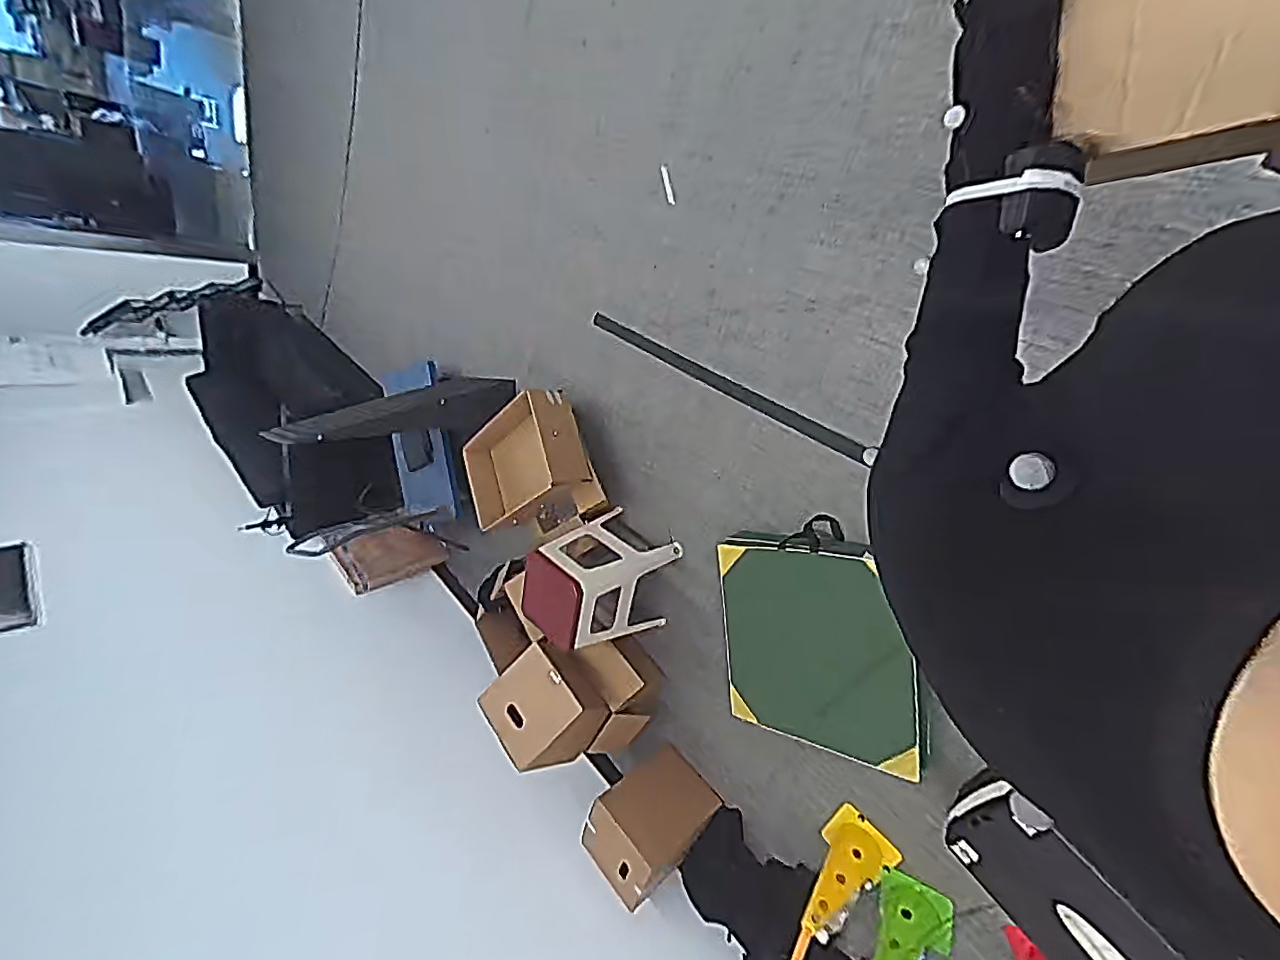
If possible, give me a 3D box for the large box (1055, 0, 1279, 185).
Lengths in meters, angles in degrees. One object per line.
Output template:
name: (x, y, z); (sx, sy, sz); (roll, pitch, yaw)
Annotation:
large box: (0.560, -0.426, 0.369); (0.408, 0.320, 0.320); (9, 115, 40)
